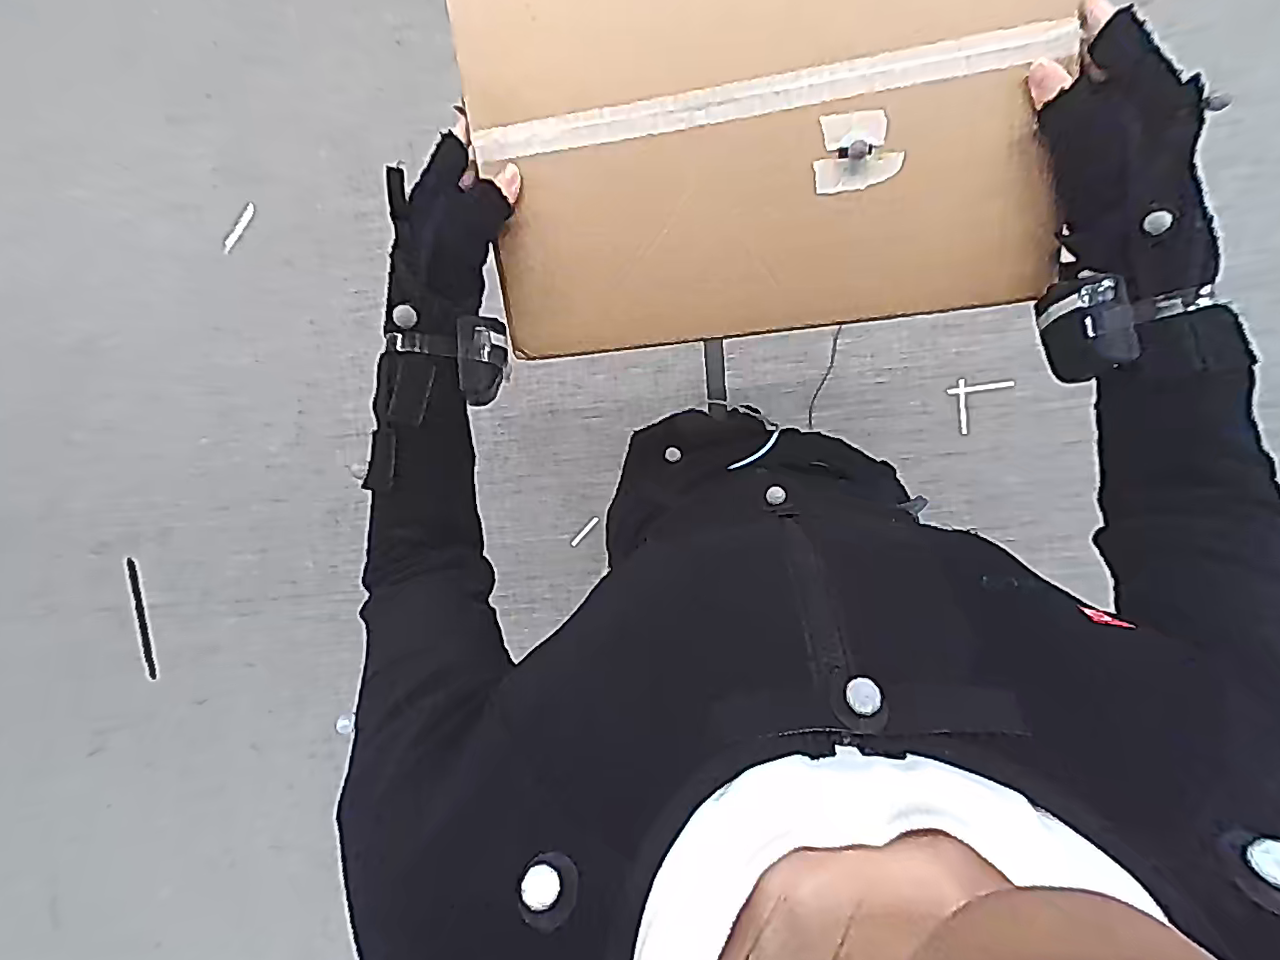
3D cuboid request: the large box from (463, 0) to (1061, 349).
[{"bbox_3d":[0.095,-0.317,0.525,0.408,0.320,0.320,-5,107,8],"label":"large box"}]
